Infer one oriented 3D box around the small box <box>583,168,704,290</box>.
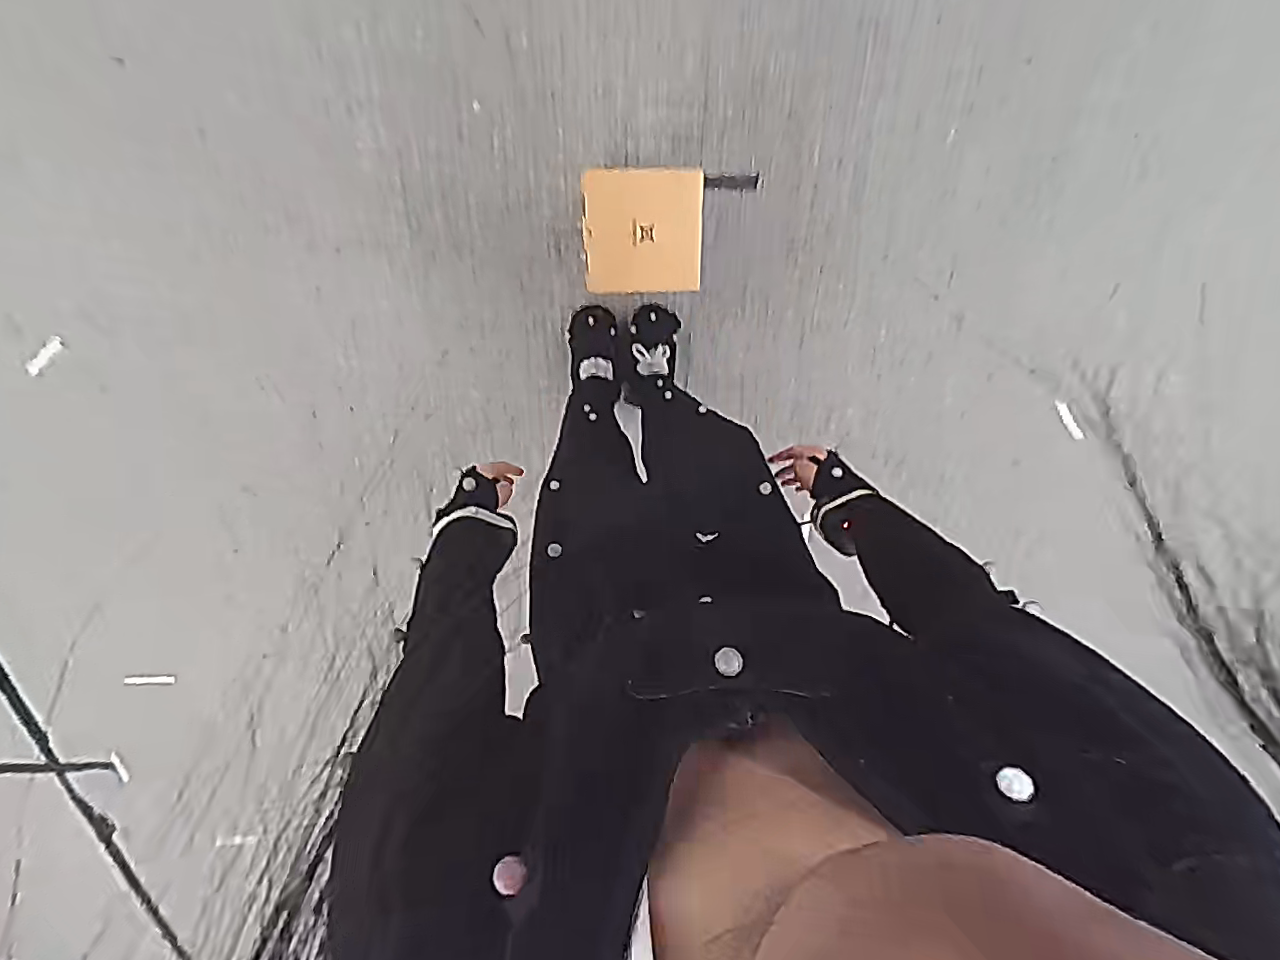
[{"bbox_3d":[0.000,-0.402,0.866,0.179,0.176,0.168,-3,116,-3],"label":"small box"}]
